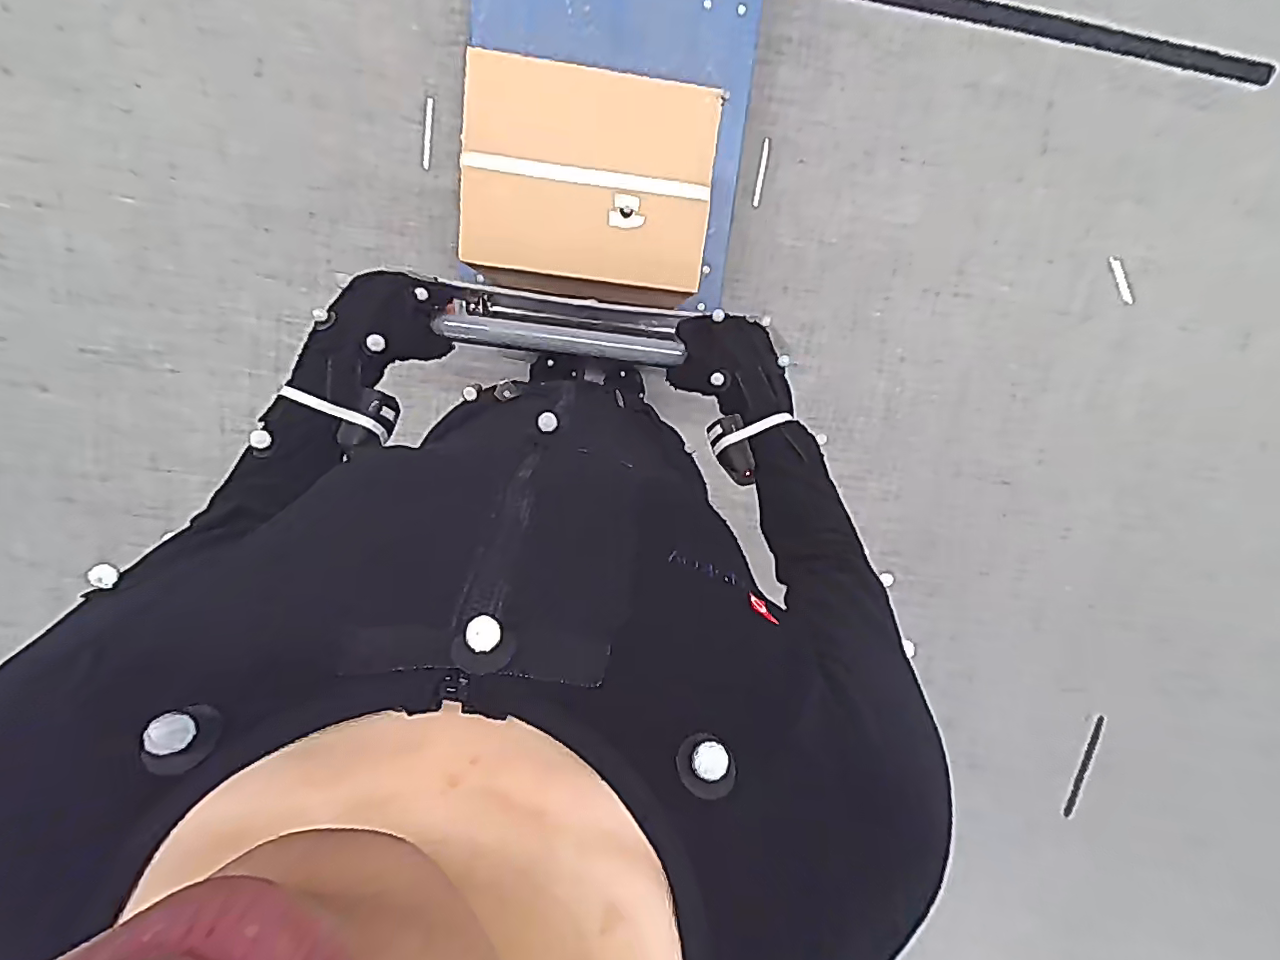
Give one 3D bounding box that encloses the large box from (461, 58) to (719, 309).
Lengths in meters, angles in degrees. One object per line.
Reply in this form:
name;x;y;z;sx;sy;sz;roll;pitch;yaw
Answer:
large box;-0.098;-0.515;1.020;0.408;0.320;0.320;5;103;-6
